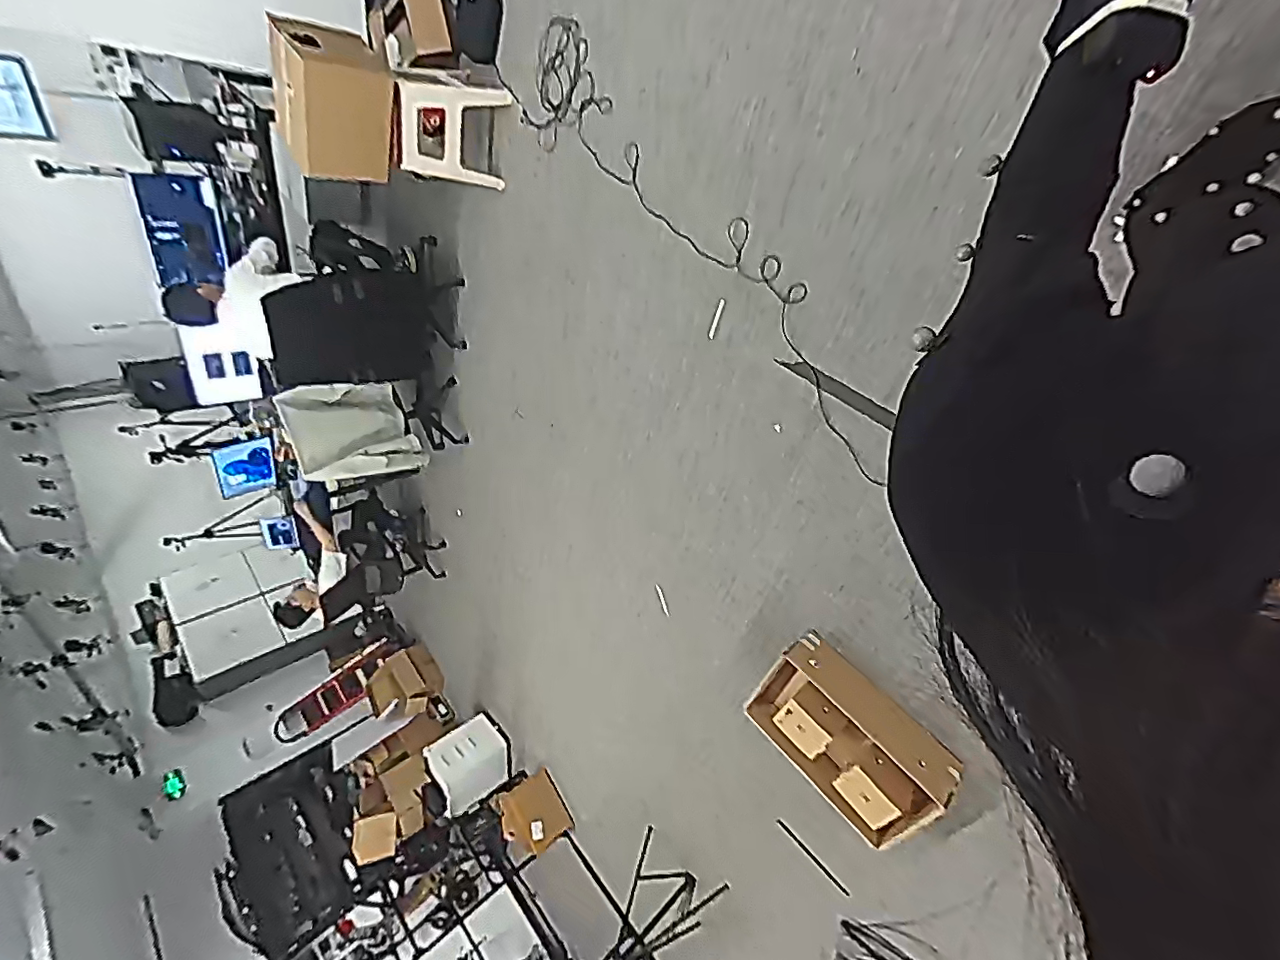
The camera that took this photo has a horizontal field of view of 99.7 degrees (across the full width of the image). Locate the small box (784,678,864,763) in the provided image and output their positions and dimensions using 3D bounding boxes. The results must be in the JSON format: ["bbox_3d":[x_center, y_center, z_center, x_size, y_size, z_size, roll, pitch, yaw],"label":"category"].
[{"bbox_3d":[0.645,0.835,1.887,0.179,0.176,0.168,41,133,25],"label":"small box"}]

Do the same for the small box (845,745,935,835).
[{"bbox_3d":[0.817,1.002,1.766,0.179,0.176,0.168,44,135,26],"label":"small box"}]
